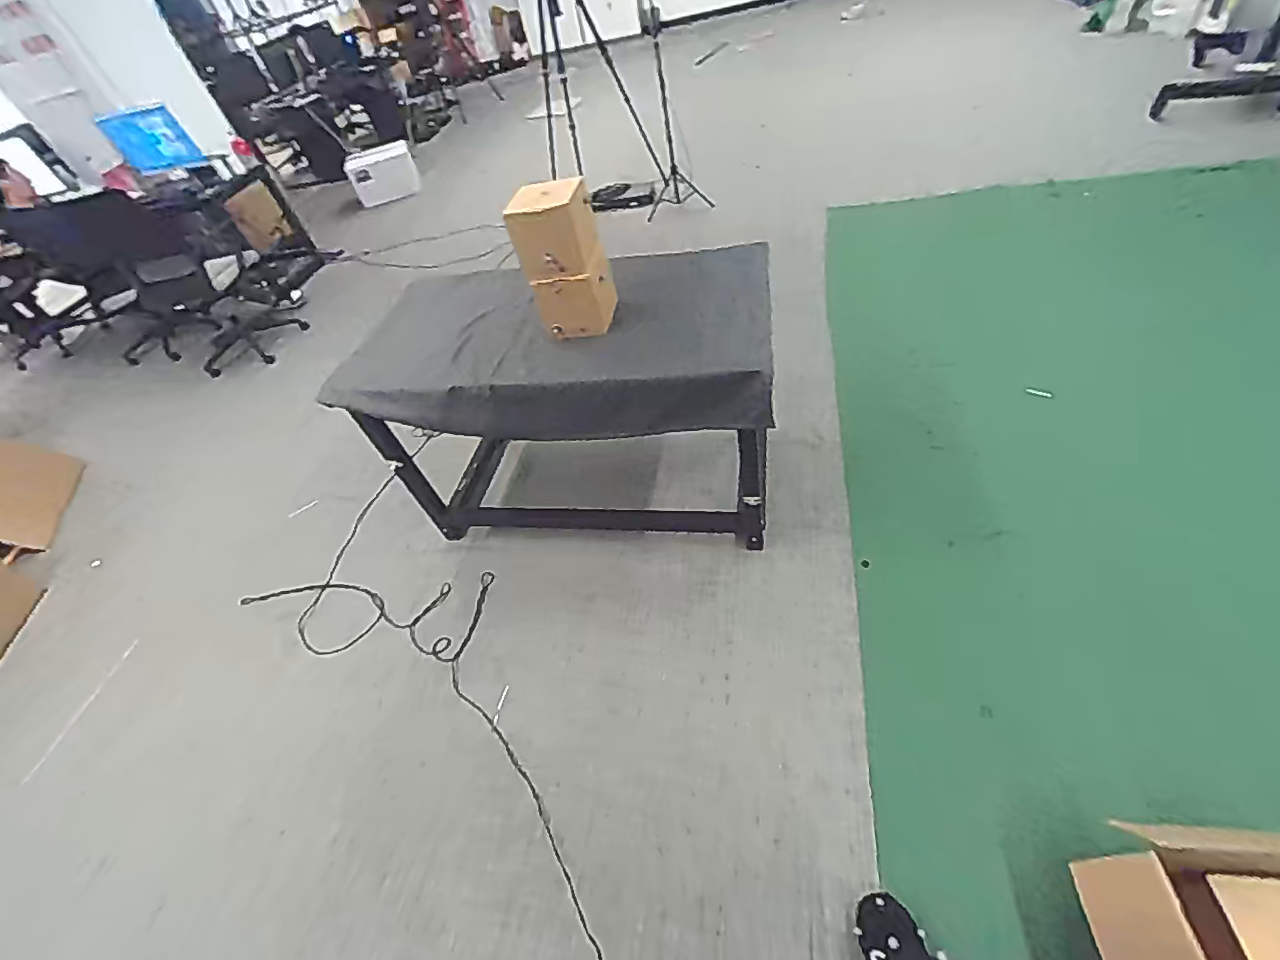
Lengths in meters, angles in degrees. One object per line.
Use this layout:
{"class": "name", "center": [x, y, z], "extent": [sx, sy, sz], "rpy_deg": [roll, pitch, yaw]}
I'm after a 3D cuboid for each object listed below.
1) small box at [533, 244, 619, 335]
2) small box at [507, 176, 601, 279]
{"class": "small box", "center": [-0.162, -0.503, 1.448], "extent": [0.168, 0.176, 0.179], "rpy_deg": [-1, 47, 15]}
{"class": "small box", "center": [-0.204, -0.623, 1.342], "extent": [0.168, 0.176, 0.179], "rpy_deg": [-2, 49, 14]}
